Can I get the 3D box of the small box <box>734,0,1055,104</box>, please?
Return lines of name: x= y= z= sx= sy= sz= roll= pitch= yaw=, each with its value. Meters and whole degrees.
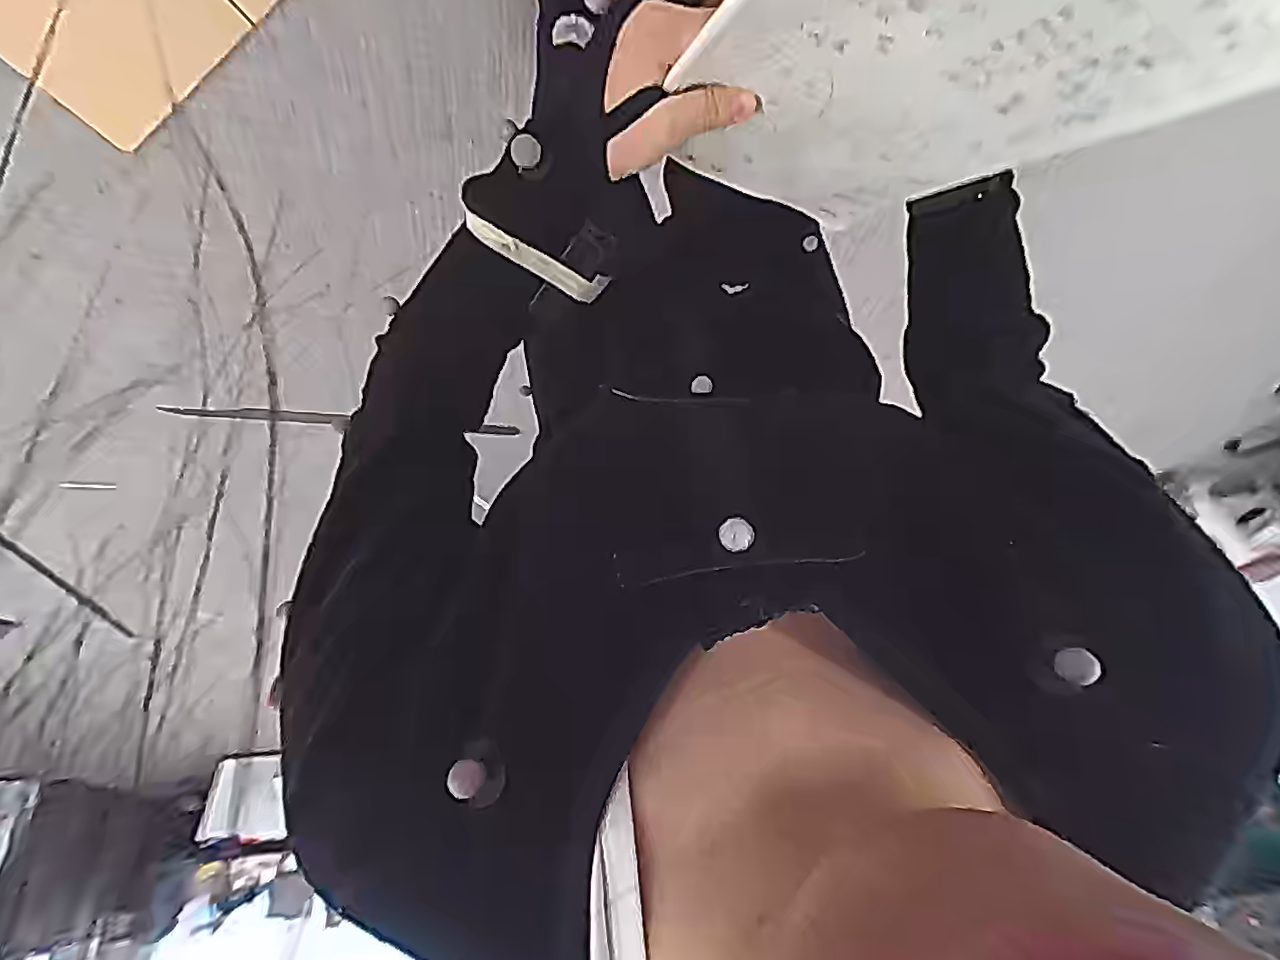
small box: x=0.133 y=-0.327 z=0.246 sx=0.168 sy=0.176 sz=0.179 roll=-20 pitch=172 yaw=-11
